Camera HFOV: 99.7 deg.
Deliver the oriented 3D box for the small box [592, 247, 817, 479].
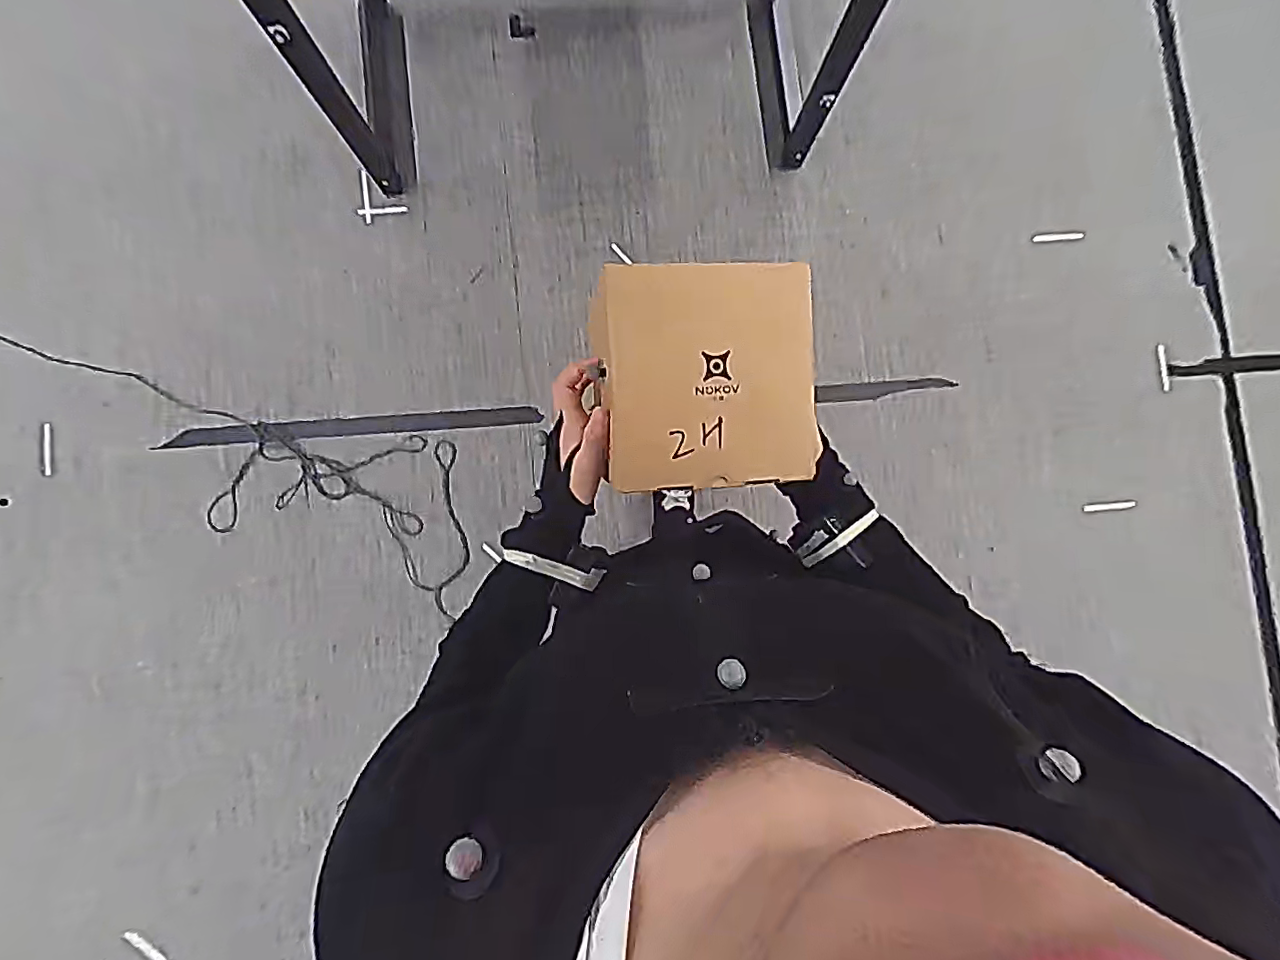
[{"bbox_3d":[0.047,-0.097,0.499,0.168,0.176,0.179,-4,96,-8],"label":"small box"}]
